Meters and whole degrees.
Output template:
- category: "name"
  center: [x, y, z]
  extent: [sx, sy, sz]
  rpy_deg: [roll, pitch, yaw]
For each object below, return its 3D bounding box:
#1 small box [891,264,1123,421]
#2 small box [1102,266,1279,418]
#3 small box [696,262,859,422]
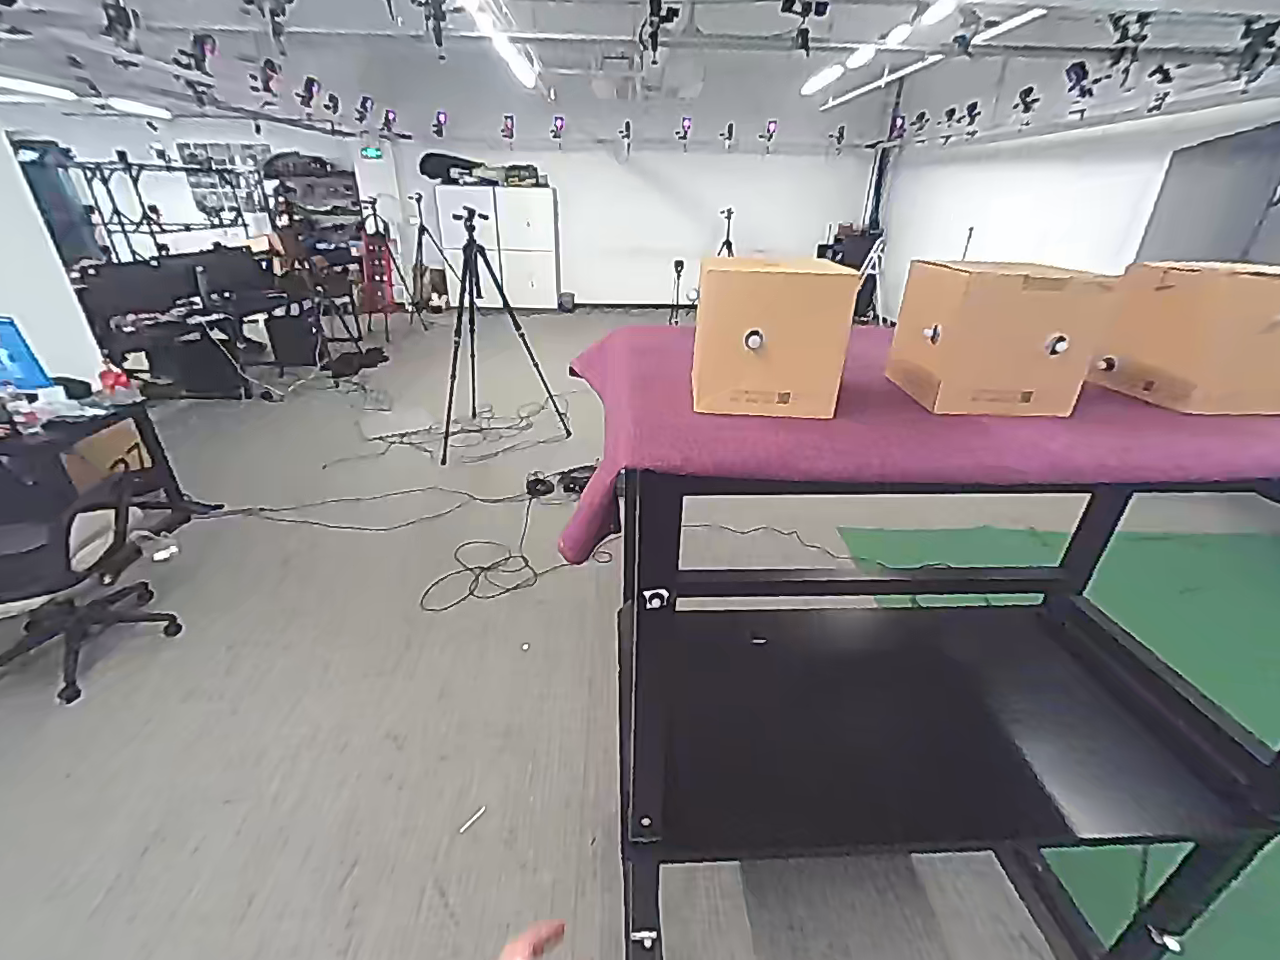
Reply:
- category: "small box"
  center: [0.449, -0.182, 0.699]
  extent: [0.168, 0.176, 0.179]
  rpy_deg: [3, 26, 3]
- category: "small box"
  center: [0.762, -0.184, 0.709]
  extent: [0.179, 0.176, 0.168]
  rpy_deg: [0, 26, -3]
- category: "small box"
  center: [0.159, -0.179, 0.684]
  extent: [0.168, 0.176, 0.179]
  rpy_deg: [3, 26, 4]
